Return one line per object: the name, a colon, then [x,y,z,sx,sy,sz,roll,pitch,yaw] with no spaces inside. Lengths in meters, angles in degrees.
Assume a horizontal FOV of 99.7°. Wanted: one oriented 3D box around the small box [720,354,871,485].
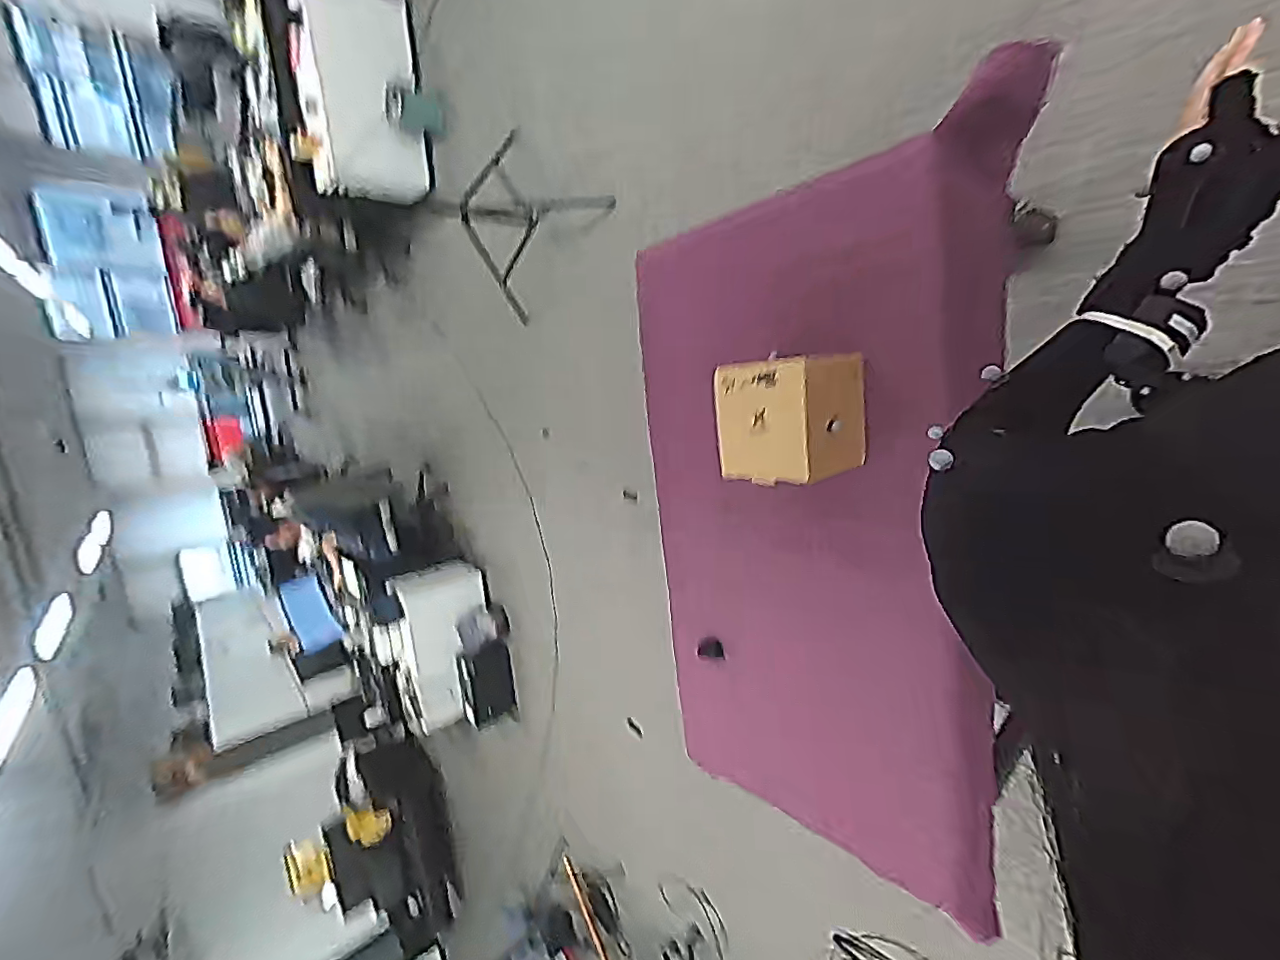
small box: [0.251,-0.099,0.861,0.168,0.176,0.179,4,105,50]
